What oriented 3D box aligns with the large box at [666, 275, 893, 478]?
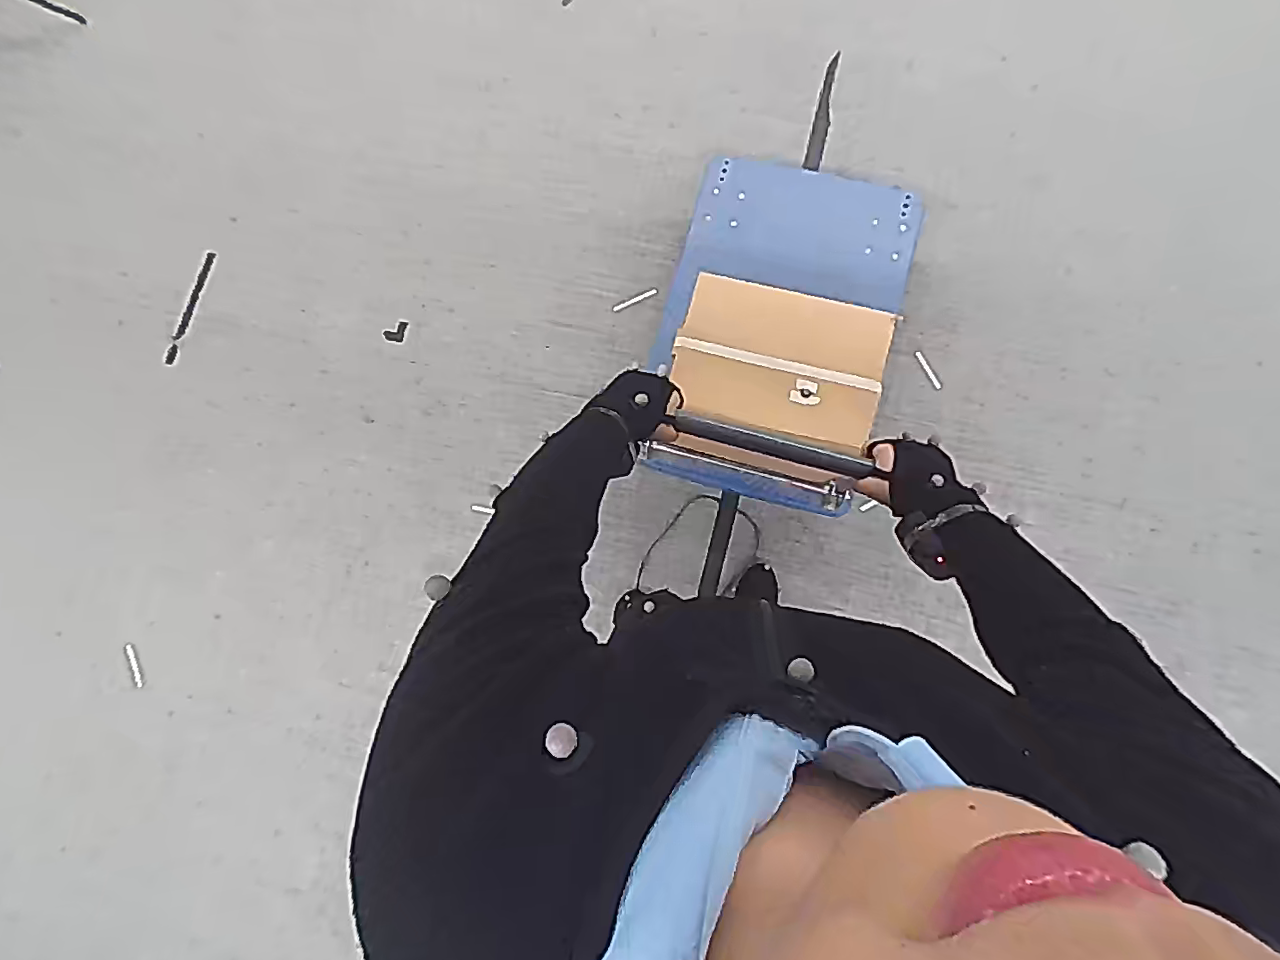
[{"bbox_3d":[0.290,-0.216,1.234,0.408,0.320,0.320,15,85,7],"label":"large box"}]
